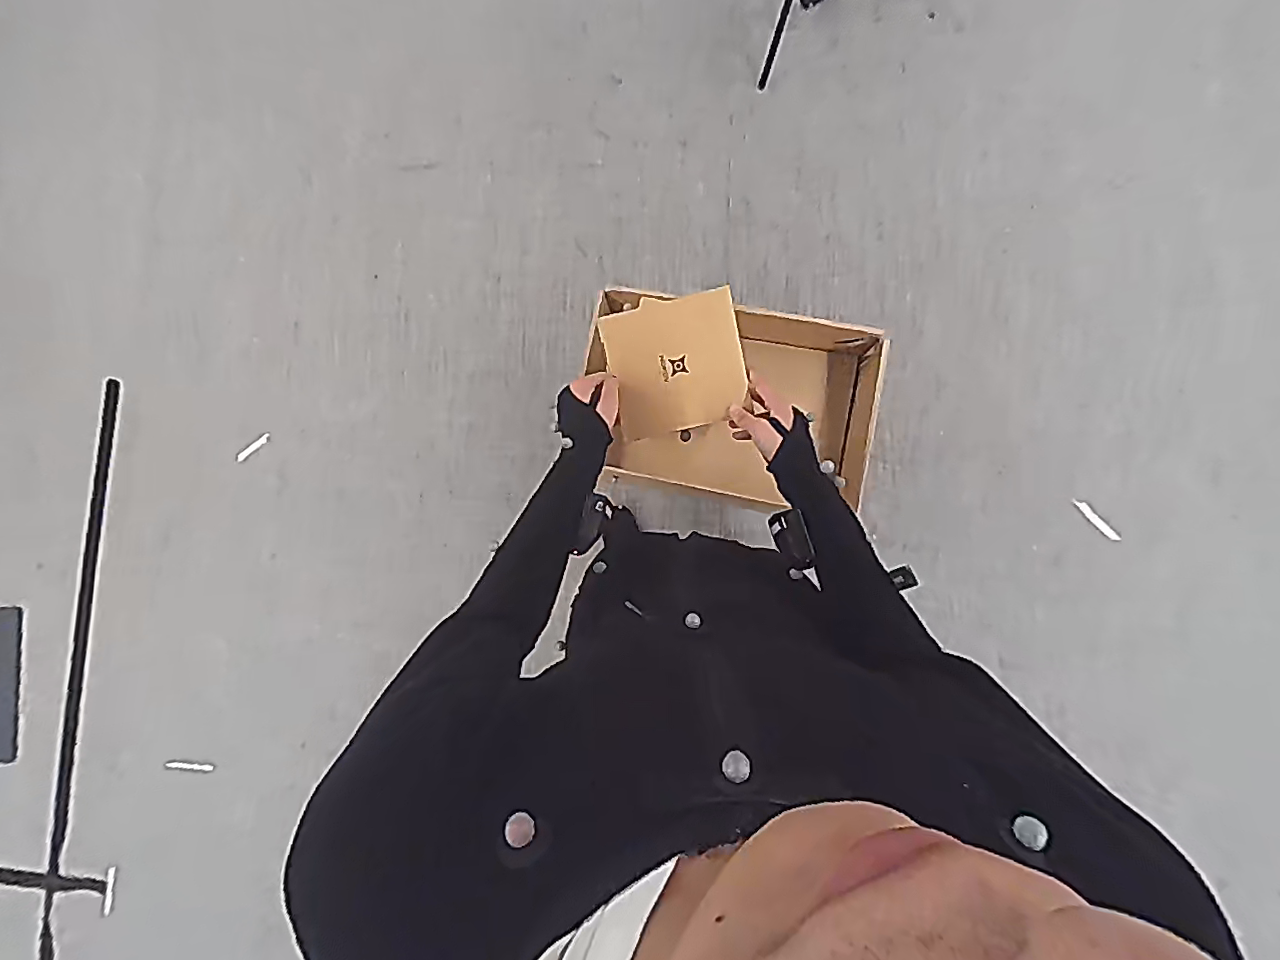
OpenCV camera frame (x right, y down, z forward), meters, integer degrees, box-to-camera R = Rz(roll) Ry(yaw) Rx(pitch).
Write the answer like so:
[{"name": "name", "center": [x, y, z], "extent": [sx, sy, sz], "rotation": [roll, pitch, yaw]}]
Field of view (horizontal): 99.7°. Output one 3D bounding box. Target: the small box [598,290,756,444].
[{"name": "small box", "center": [0.056, -0.155, 0.768], "extent": [0.179, 0.176, 0.168], "rotation": [-12, 97, 10]}]
